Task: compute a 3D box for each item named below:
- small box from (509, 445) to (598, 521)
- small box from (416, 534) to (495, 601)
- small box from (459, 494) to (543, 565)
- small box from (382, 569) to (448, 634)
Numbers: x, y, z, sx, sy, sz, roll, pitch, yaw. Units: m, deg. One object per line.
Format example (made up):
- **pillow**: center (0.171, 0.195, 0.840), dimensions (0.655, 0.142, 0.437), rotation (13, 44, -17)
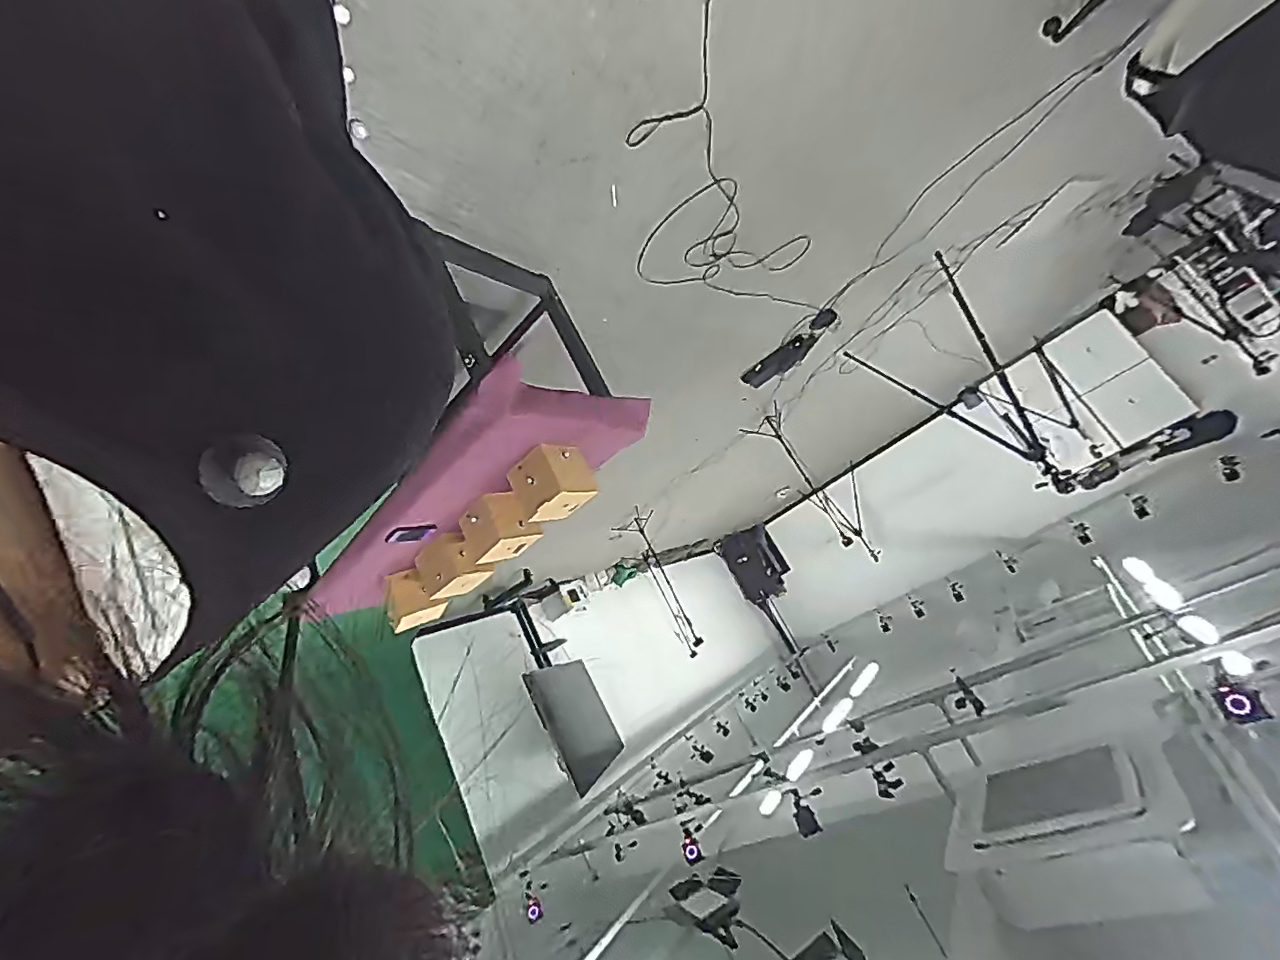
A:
- **small box**: center (-0.264, 0.010, 1.631), dimensions (0.168, 0.176, 0.179), rotation (-37, 160, 27)
- **small box**: center (-0.641, 0.294, 1.867), dimensions (0.179, 0.176, 0.168), rotation (-36, 160, 24)
- **small box**: center (-0.453, 0.155, 1.755), dimensions (0.168, 0.176, 0.179), rotation (-40, 159, 31)
- **small box**: center (-0.828, 0.434, 1.979), dimensions (0.168, 0.176, 0.179), rotation (-15, 158, -38)
